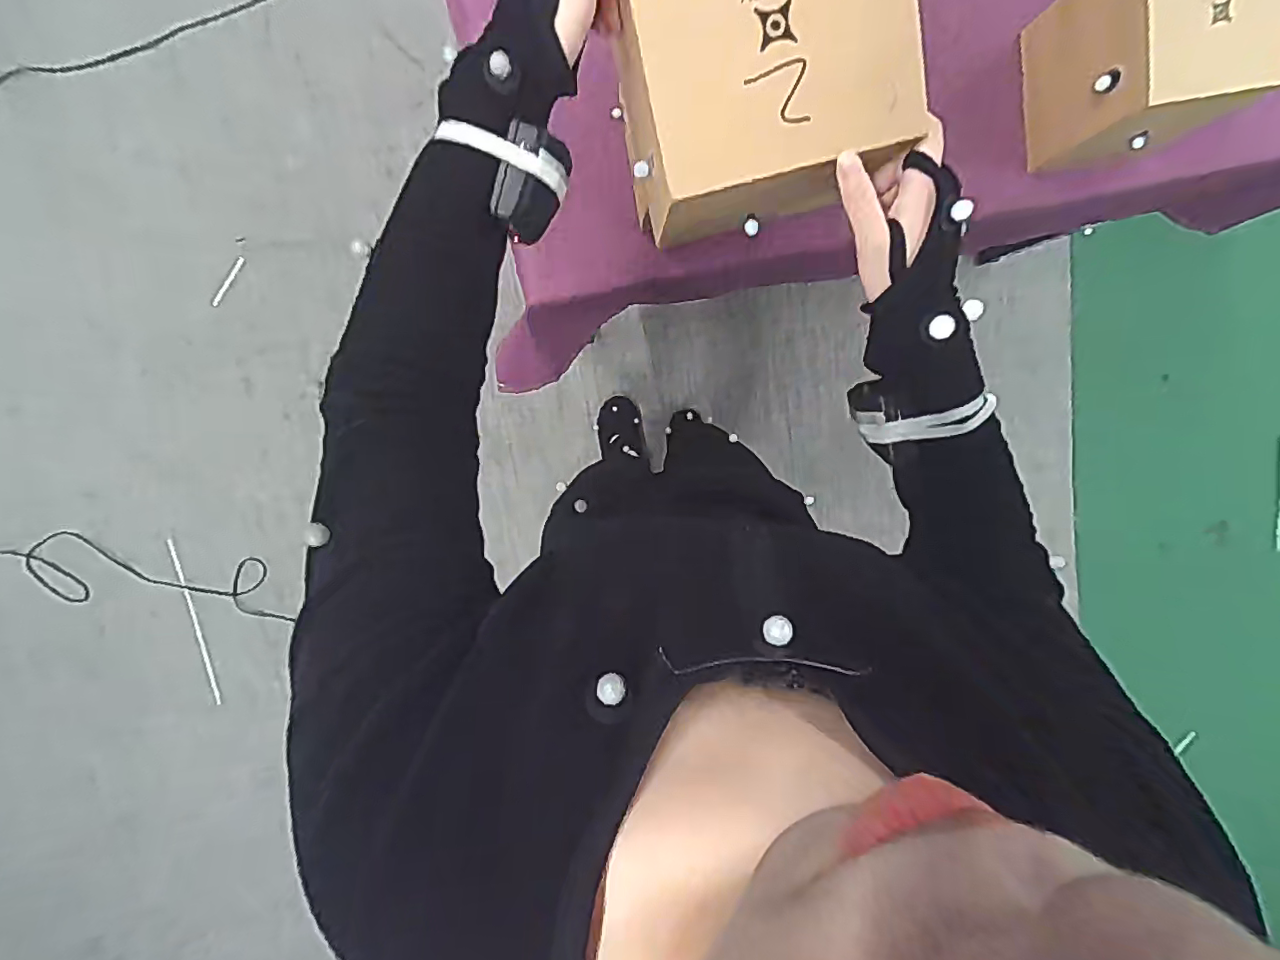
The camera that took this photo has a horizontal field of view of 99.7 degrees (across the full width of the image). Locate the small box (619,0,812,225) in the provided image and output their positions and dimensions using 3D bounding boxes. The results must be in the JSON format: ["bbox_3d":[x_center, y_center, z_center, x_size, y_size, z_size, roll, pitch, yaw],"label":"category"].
[{"bbox_3d":[0.074,-0.412,0.621,0.179,0.176,0.168,-11,99,-2],"label":"small box"}]

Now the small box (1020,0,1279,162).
[{"bbox_3d":[0.590,-0.502,0.640,0.168,0.176,0.179,-10,99,-3],"label":"small box"}]
